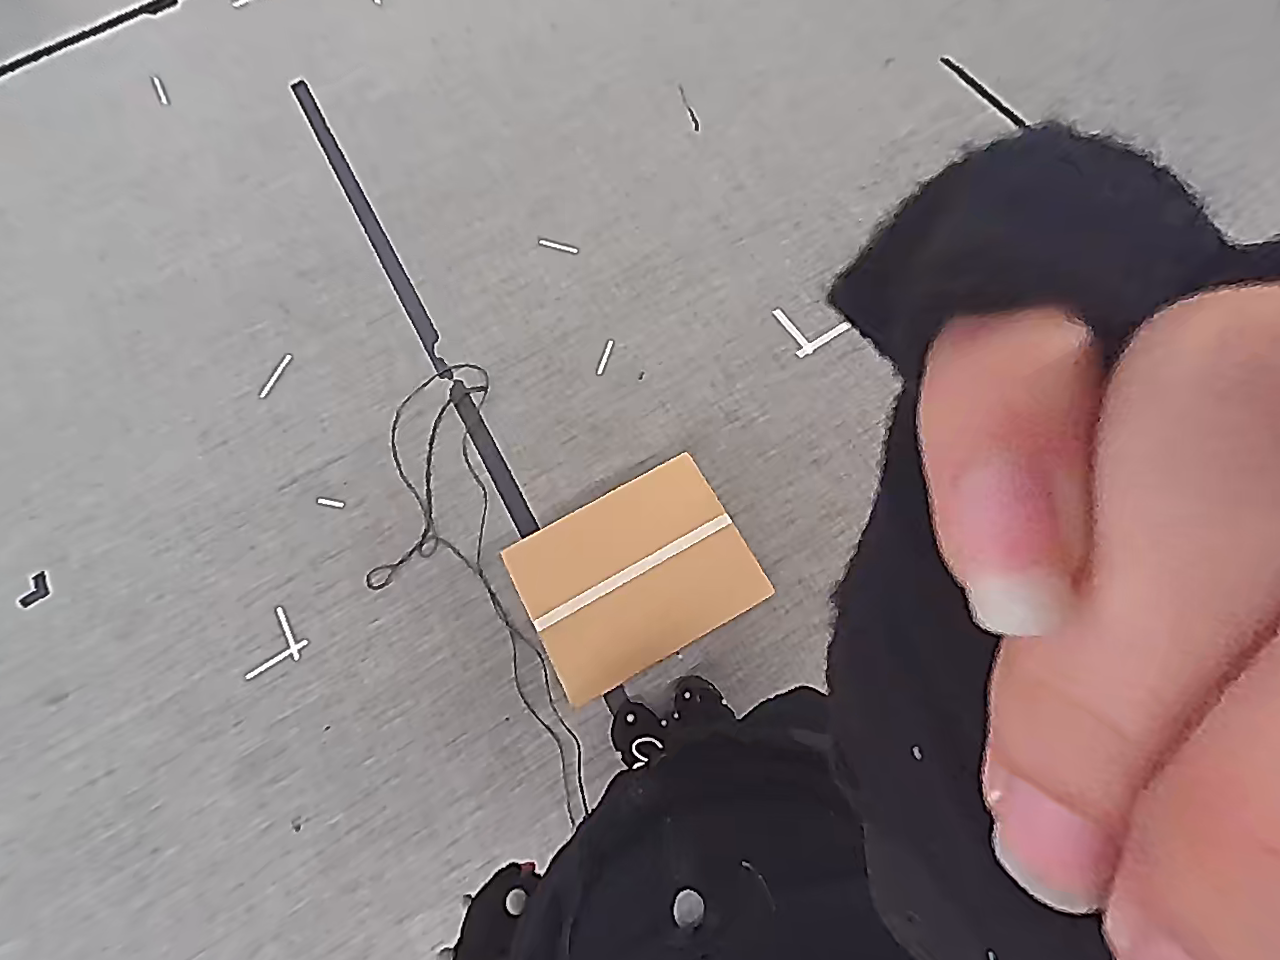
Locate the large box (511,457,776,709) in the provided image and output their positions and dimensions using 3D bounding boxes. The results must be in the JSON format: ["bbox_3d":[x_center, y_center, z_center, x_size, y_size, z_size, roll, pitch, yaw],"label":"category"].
[{"bbox_3d":[0.009,0.221,1.126,0.408,0.320,0.320,-29,73,-6],"label":"large box"}]
